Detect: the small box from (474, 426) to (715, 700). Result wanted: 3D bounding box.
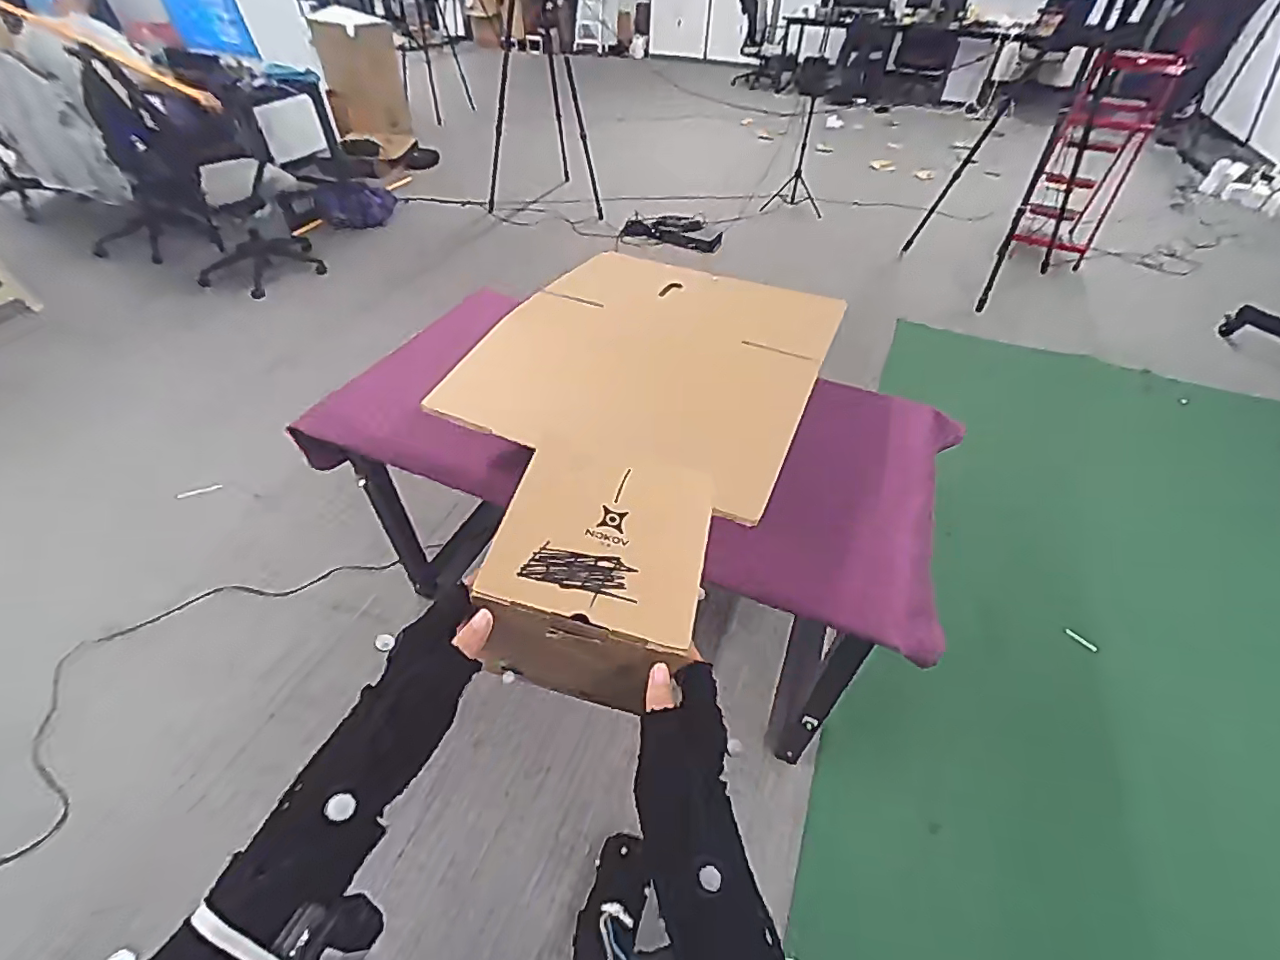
[{"bbox_3d":[-0.040,0.084,0.510,0.168,0.176,0.179,16,51,-1],"label":"small box"}]
